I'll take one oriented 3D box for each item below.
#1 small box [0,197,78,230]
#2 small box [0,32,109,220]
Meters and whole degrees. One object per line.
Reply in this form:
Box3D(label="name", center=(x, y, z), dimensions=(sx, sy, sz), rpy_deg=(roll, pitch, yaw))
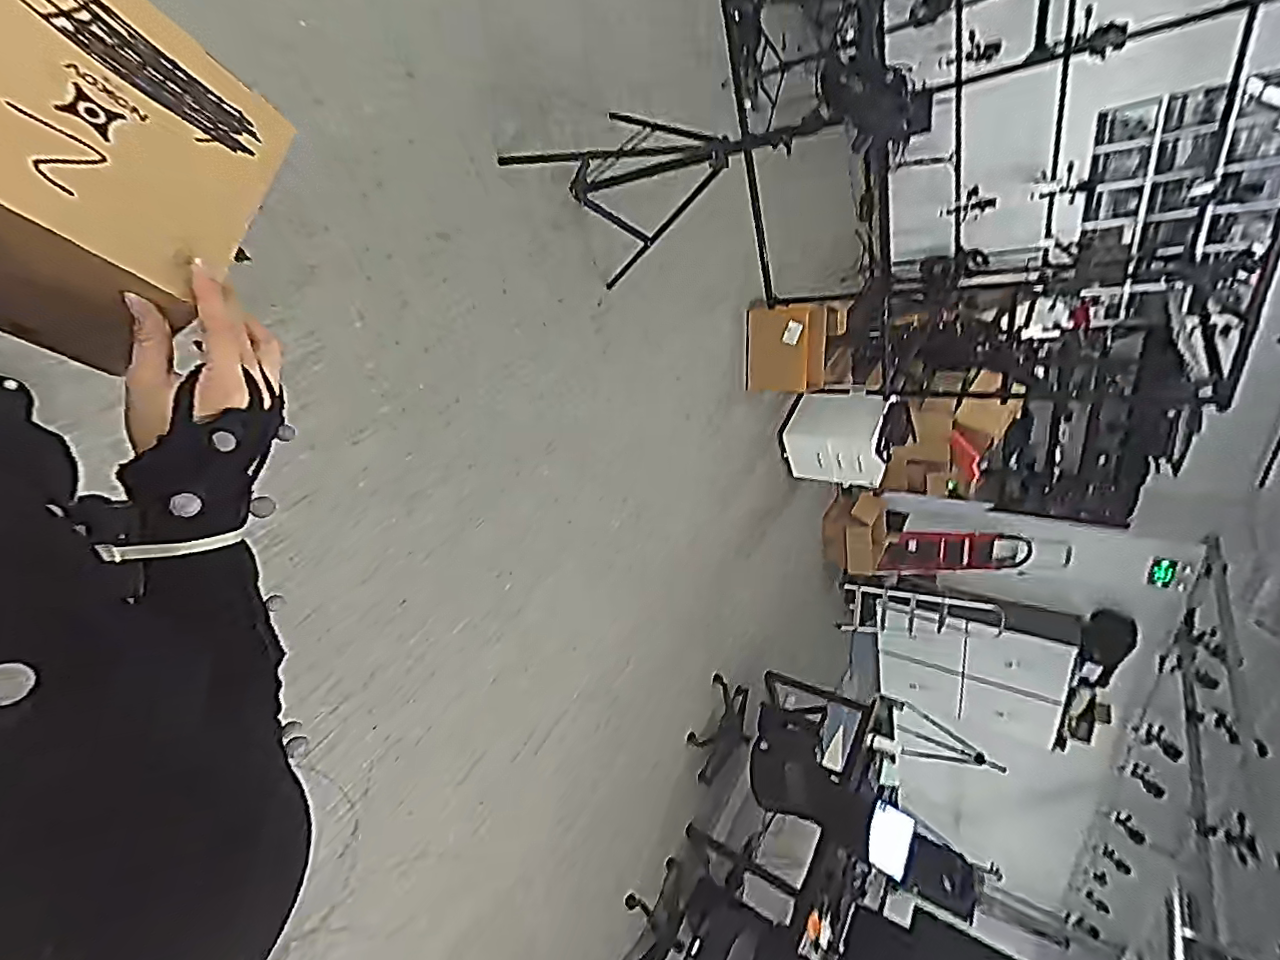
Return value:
Box3D(label="small box", center=(-1.018, -0.473, 0.810), dimensions=(0.179, 0.176, 0.168), rpy_deg=(-45, 131, -40))
Box3D(label="small box", center=(-0.884, -0.461, 0.718), dimensions=(0.168, 0.176, 0.179), rpy_deg=(-52, 135, -35))
